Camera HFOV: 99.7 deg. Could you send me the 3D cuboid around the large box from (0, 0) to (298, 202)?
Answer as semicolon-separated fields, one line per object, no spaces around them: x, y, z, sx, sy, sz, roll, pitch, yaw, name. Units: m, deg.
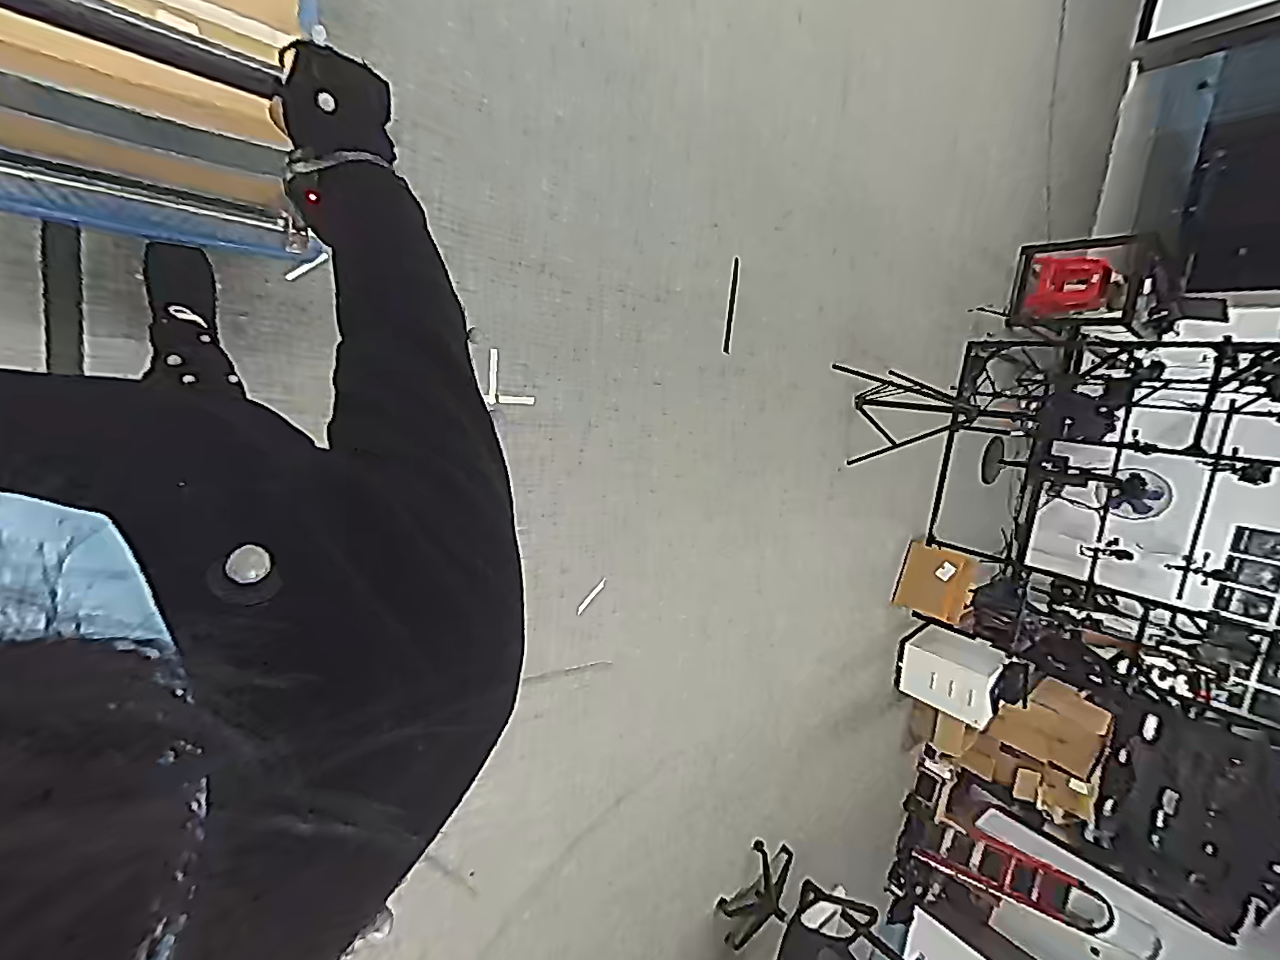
-0.749;-0.633;0.759;0.408;0.320;0.320;-4;104;-42;large box
